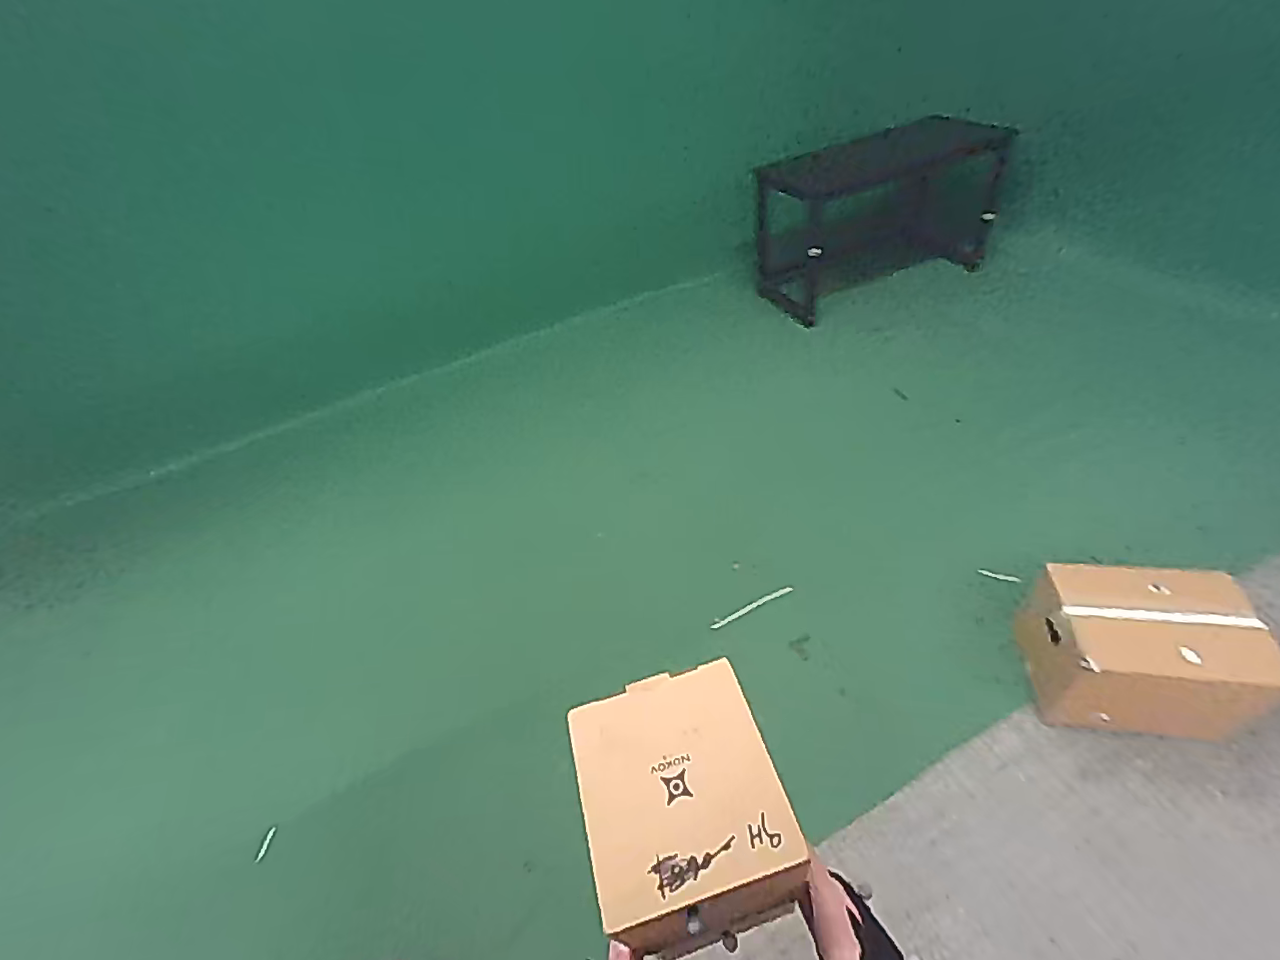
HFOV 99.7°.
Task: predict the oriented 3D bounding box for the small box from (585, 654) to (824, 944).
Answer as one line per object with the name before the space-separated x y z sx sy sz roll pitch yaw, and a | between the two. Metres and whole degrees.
small box | 0.055 0.303 0.518 0.168 0.176 0.179 -17 44 -3
